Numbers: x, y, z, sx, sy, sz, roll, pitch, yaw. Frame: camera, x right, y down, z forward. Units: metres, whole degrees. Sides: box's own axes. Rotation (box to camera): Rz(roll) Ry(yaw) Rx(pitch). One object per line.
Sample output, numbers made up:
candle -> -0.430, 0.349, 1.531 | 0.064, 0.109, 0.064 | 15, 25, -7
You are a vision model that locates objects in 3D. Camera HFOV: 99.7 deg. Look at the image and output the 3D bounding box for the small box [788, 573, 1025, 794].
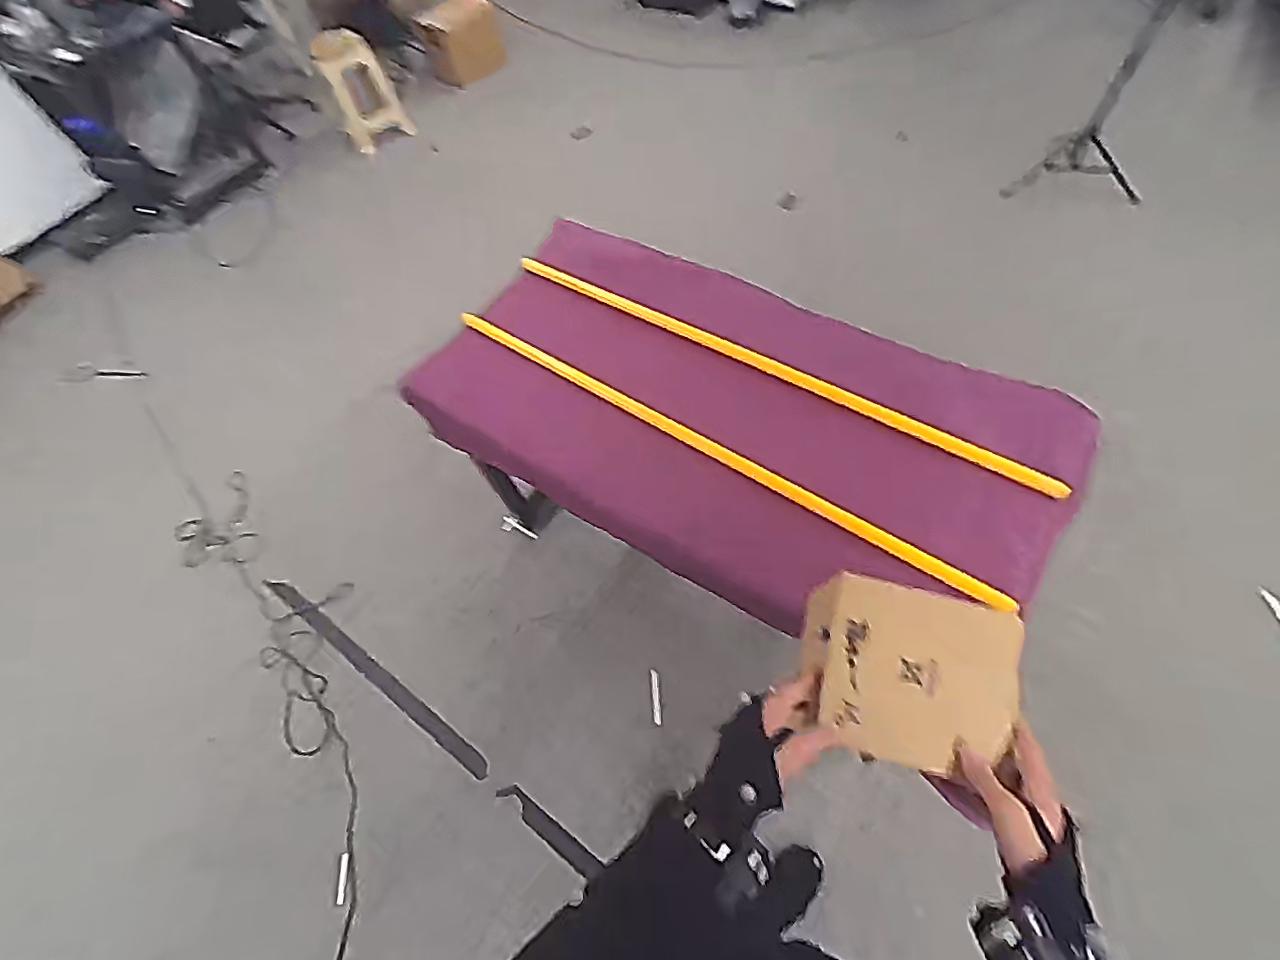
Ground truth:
small box -> 0.278, 0.213, 0.596 | 0.179, 0.176, 0.168 | 14, 73, 9
